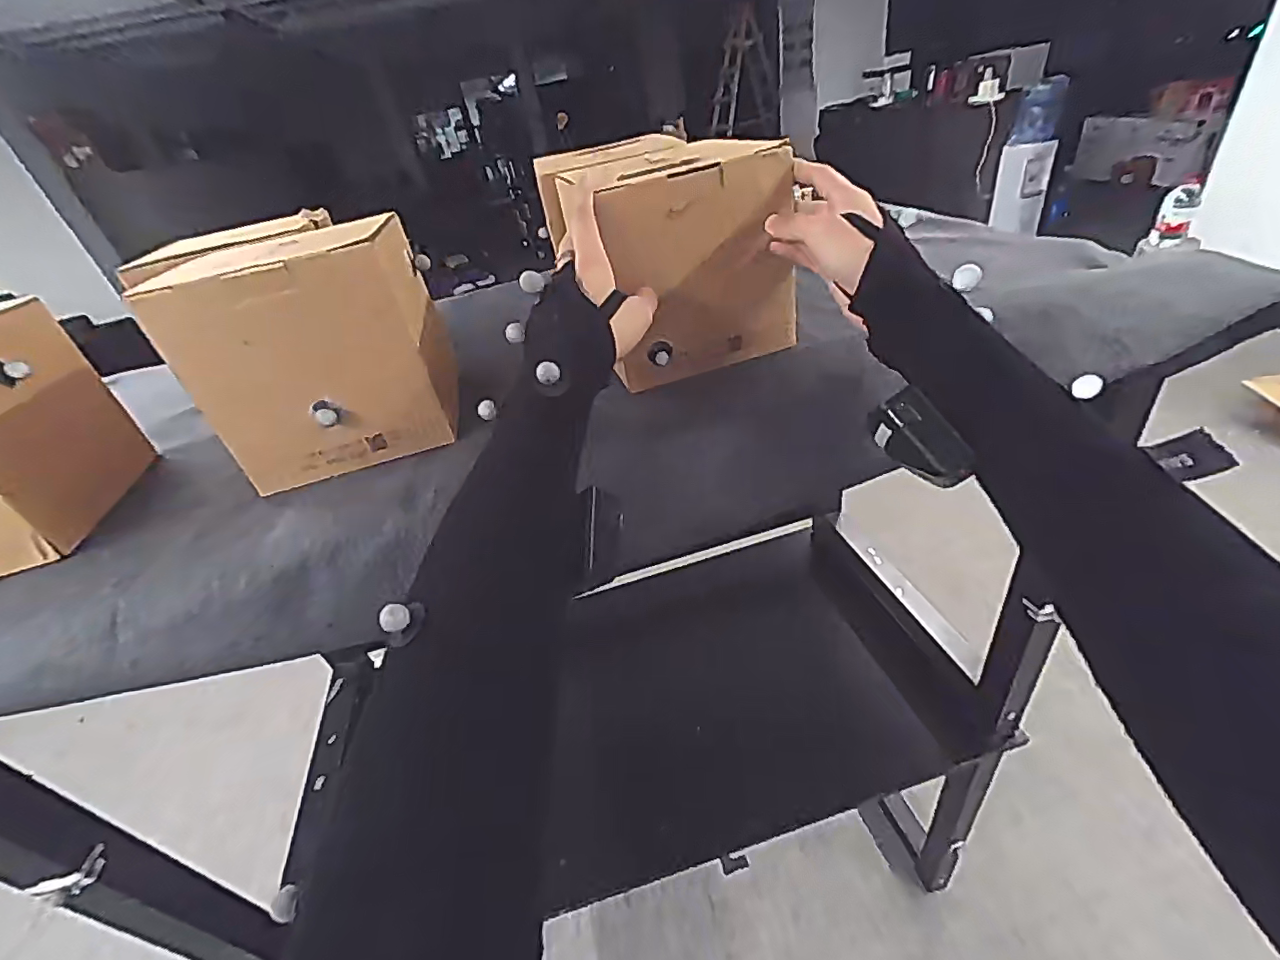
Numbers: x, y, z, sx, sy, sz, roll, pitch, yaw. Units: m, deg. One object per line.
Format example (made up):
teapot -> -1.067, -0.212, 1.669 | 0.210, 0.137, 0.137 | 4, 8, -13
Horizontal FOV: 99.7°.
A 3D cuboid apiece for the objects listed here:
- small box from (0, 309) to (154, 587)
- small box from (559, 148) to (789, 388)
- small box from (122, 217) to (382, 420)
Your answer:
small box -> -0.556, -0.019, 0.436 | 0.168, 0.176, 0.179 | -17, 35, -9
small box -> 0.033, -0.204, 0.523 | 0.168, 0.176, 0.179 | -17, 35, -8
small box -> -0.431, -0.195, 0.644 | 0.179, 0.176, 0.168 | -17, 36, -9
